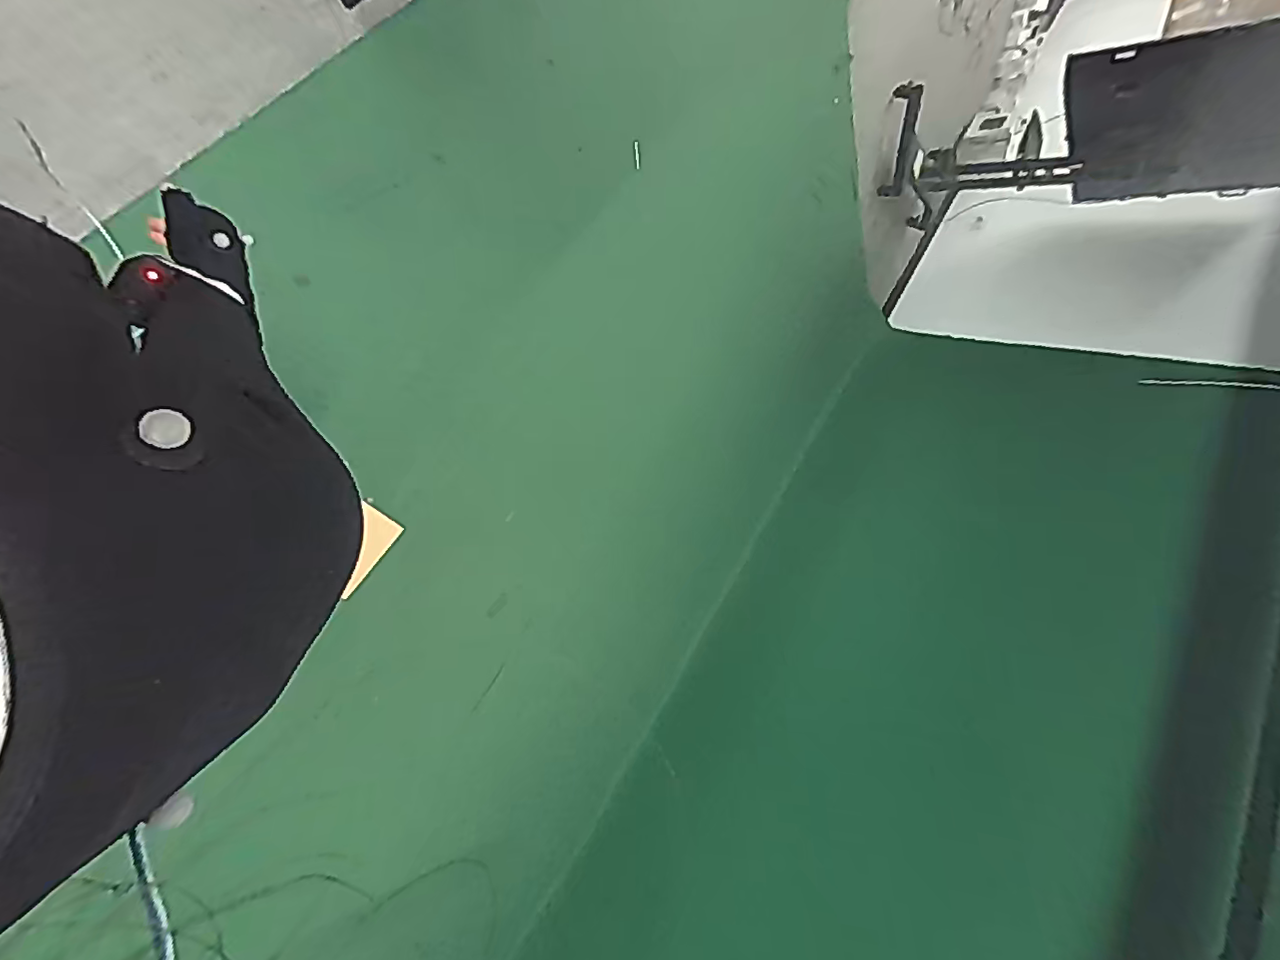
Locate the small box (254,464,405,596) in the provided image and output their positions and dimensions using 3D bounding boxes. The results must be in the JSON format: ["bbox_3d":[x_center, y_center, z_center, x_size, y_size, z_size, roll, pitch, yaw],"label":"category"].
[{"bbox_3d":[-0.619,0.093,1.077,0.179,0.176,0.168,-55,141,-17],"label":"small box"}]
